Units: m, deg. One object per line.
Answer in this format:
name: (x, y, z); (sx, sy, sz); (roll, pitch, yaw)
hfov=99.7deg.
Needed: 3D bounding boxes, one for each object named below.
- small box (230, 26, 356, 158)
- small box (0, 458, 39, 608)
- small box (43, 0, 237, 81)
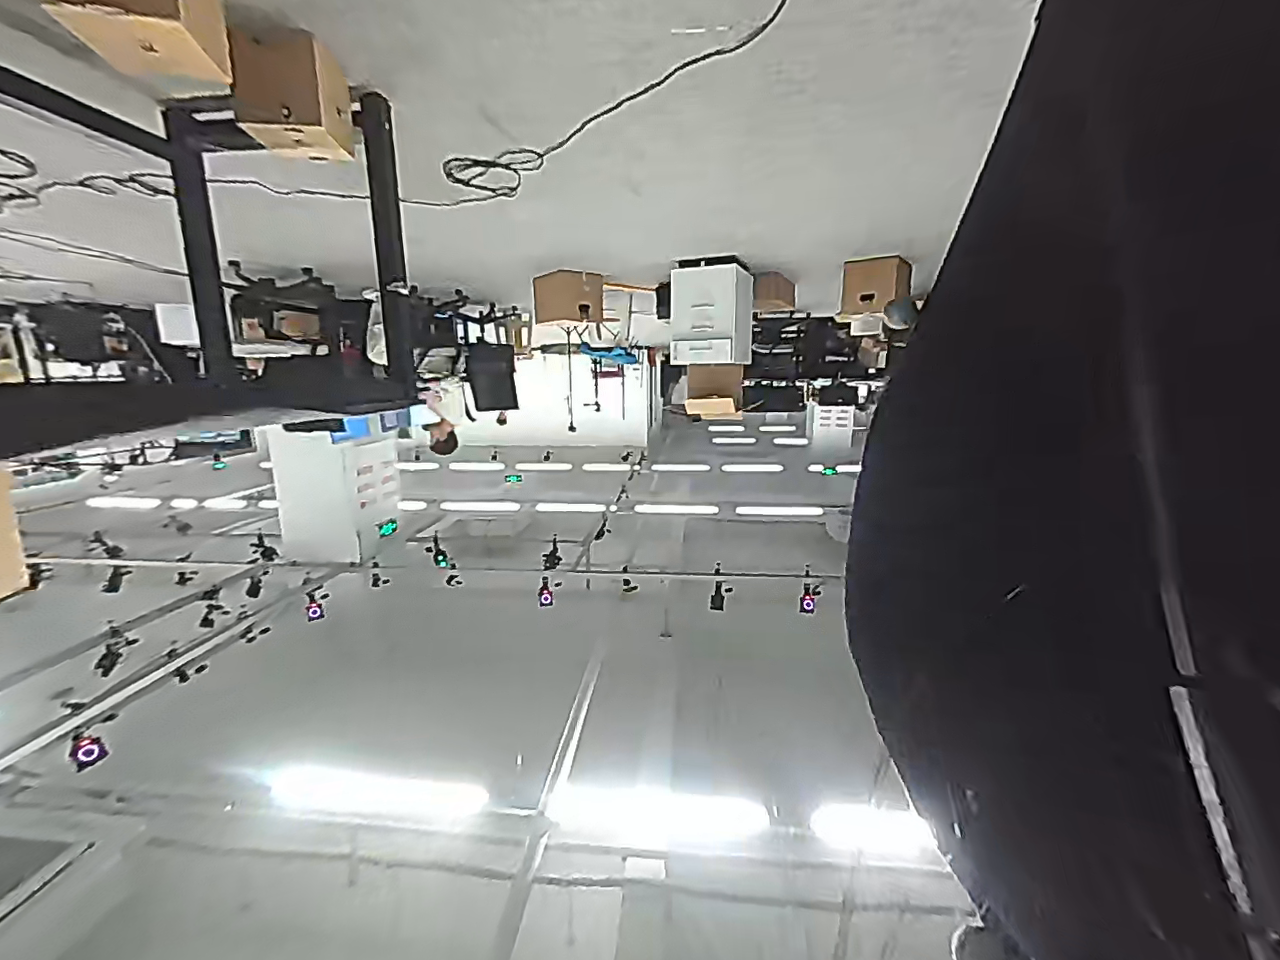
small box: (-0.720, -0.801, 1.133); (0.168, 0.176, 0.179); (-2, -168, -7)
small box: (-0.787, 0.069, 0.547); (0.168, 0.176, 0.179); (-2, -167, -16)
small box: (-0.734, -0.731, 0.793); (0.168, 0.176, 0.179); (-3, -167, -15)
